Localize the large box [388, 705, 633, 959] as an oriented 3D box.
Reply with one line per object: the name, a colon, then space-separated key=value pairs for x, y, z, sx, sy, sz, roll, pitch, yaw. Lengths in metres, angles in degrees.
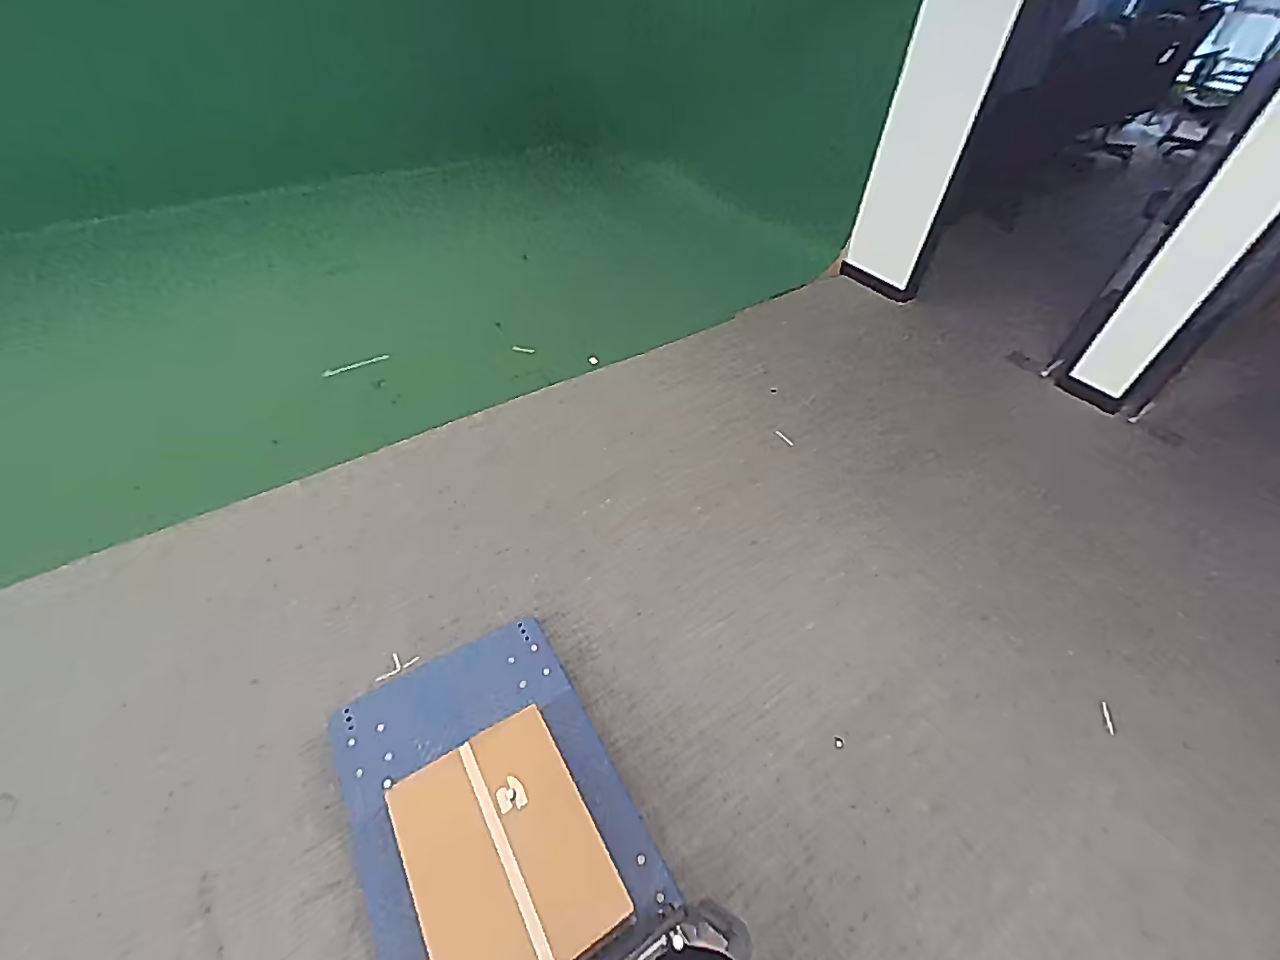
large box: x=-0.244 y=0.751 z=1.074 sx=0.320 sy=0.320 sz=0.408 roll=-23 pitch=52 yaw=-22
